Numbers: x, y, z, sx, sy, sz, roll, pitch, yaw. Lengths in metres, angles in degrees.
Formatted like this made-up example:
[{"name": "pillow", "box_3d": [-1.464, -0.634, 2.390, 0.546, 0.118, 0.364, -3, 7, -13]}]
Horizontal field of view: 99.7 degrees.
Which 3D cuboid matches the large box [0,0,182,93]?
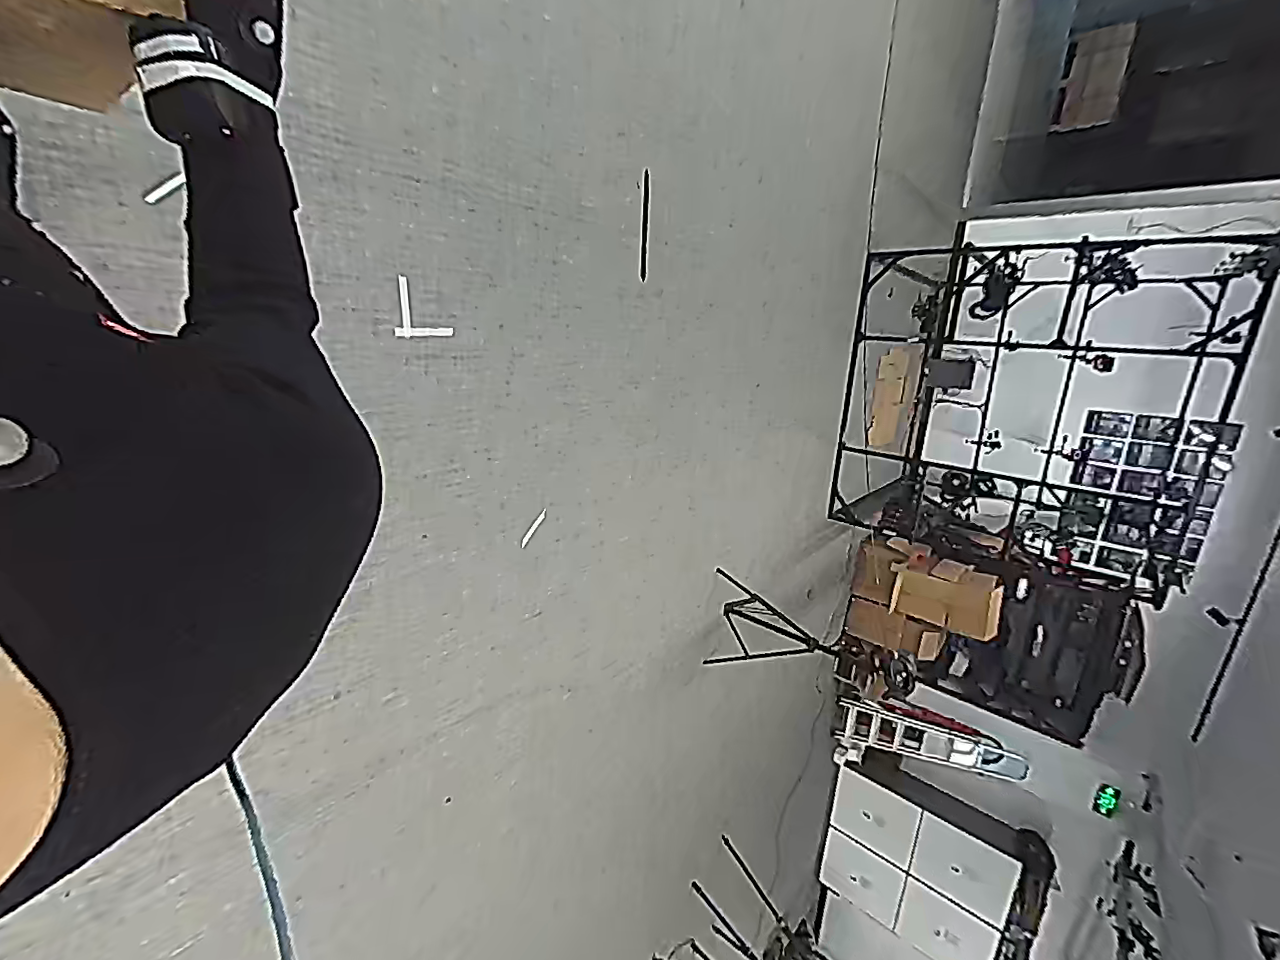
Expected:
[{"name": "large box", "box_3d": [-0.555, -0.475, 0.281, 0.408, 0.320, 0.320, -14, 115, -51]}]
